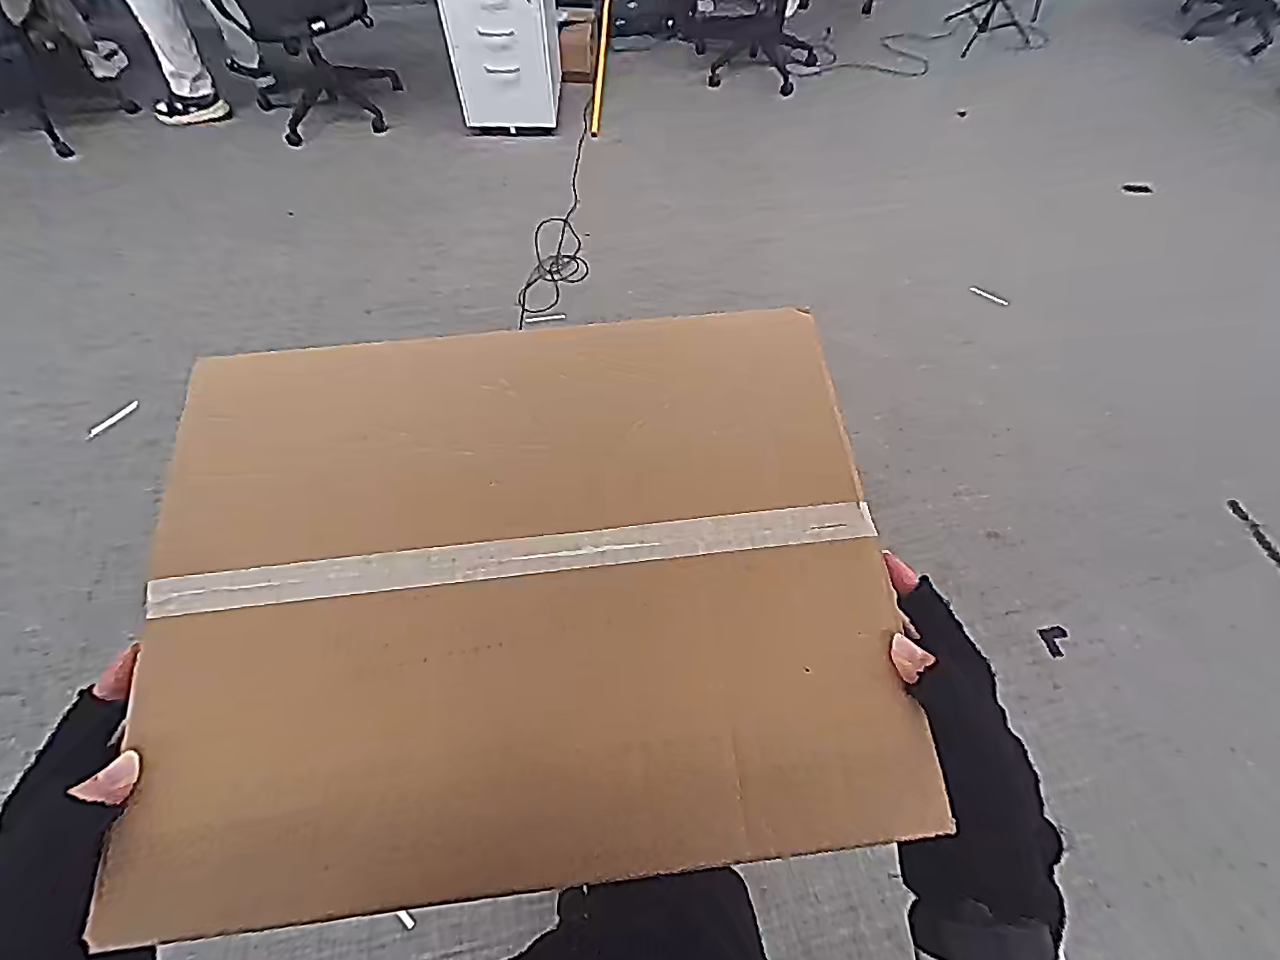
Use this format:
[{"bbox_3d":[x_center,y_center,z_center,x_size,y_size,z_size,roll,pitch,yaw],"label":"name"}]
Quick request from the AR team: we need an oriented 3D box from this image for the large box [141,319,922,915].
[{"bbox_3d":[-0.068,0.101,0.463,0.408,0.320,0.320,-6,70,-3],"label":"large box"}]
